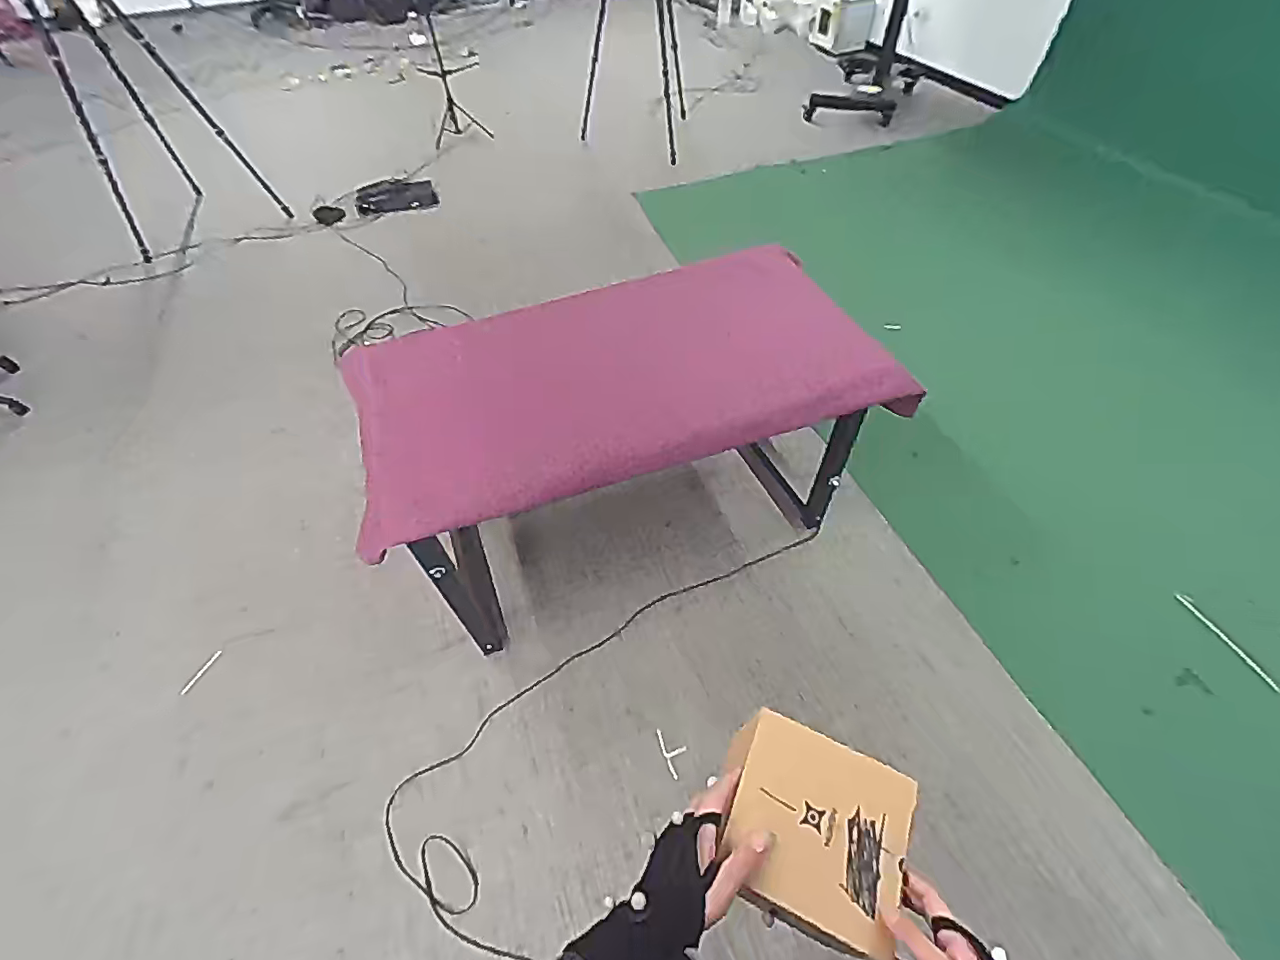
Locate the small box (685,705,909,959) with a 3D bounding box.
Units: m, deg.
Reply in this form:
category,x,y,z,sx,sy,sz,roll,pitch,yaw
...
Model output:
category,x,y,z,sx,sy,sz,roll,pitch,yaw
small box,0.166,0.385,0.606,0.179,0.176,0.168,23,56,12
